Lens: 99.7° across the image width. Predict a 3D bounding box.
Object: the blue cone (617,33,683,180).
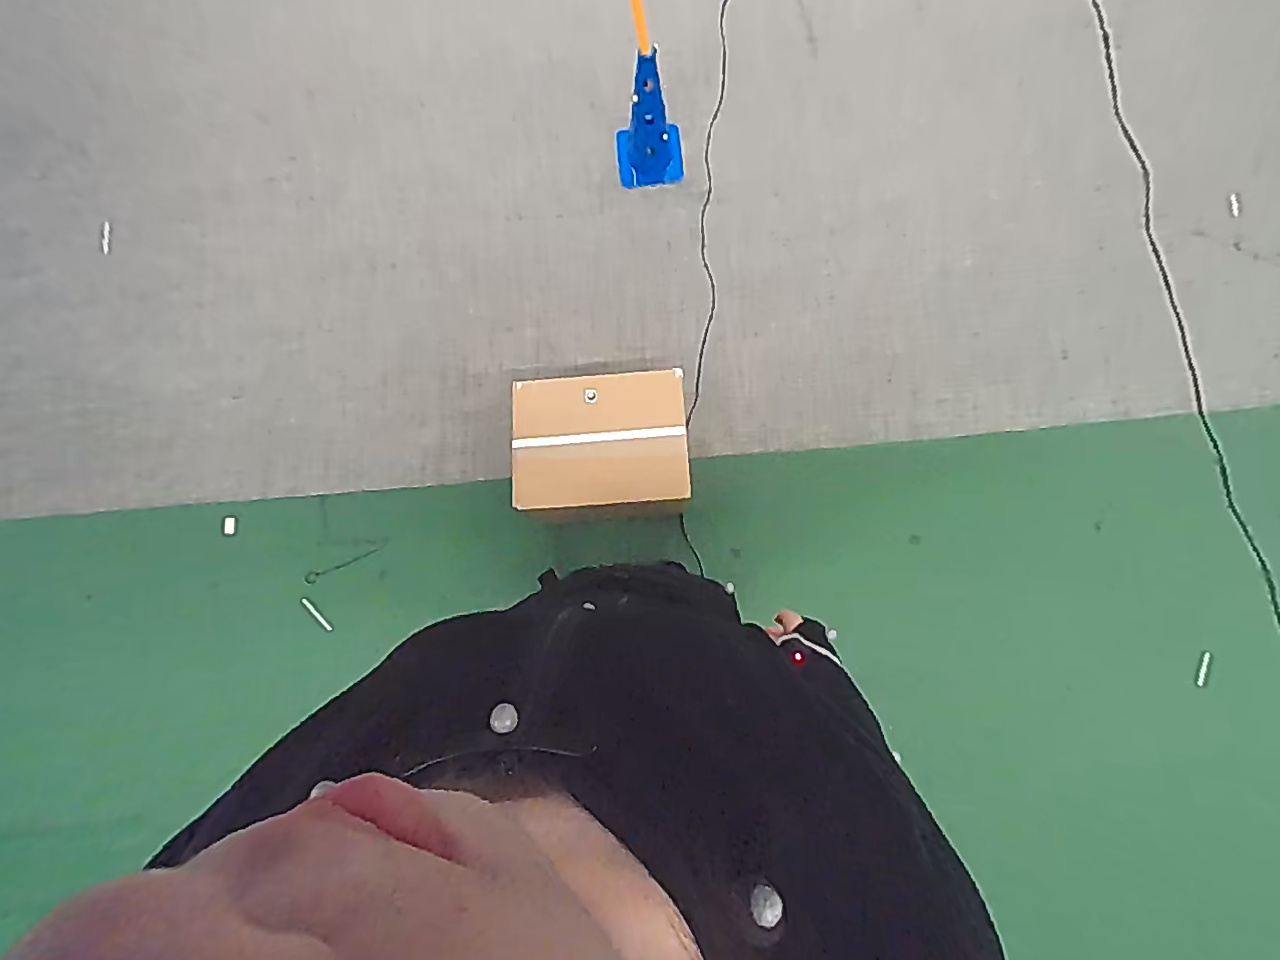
[{"bbox_3d":[0.022,-1.039,1.499,0.193,0.380,0.192,-8,82,2],"label":"blue cone"}]
